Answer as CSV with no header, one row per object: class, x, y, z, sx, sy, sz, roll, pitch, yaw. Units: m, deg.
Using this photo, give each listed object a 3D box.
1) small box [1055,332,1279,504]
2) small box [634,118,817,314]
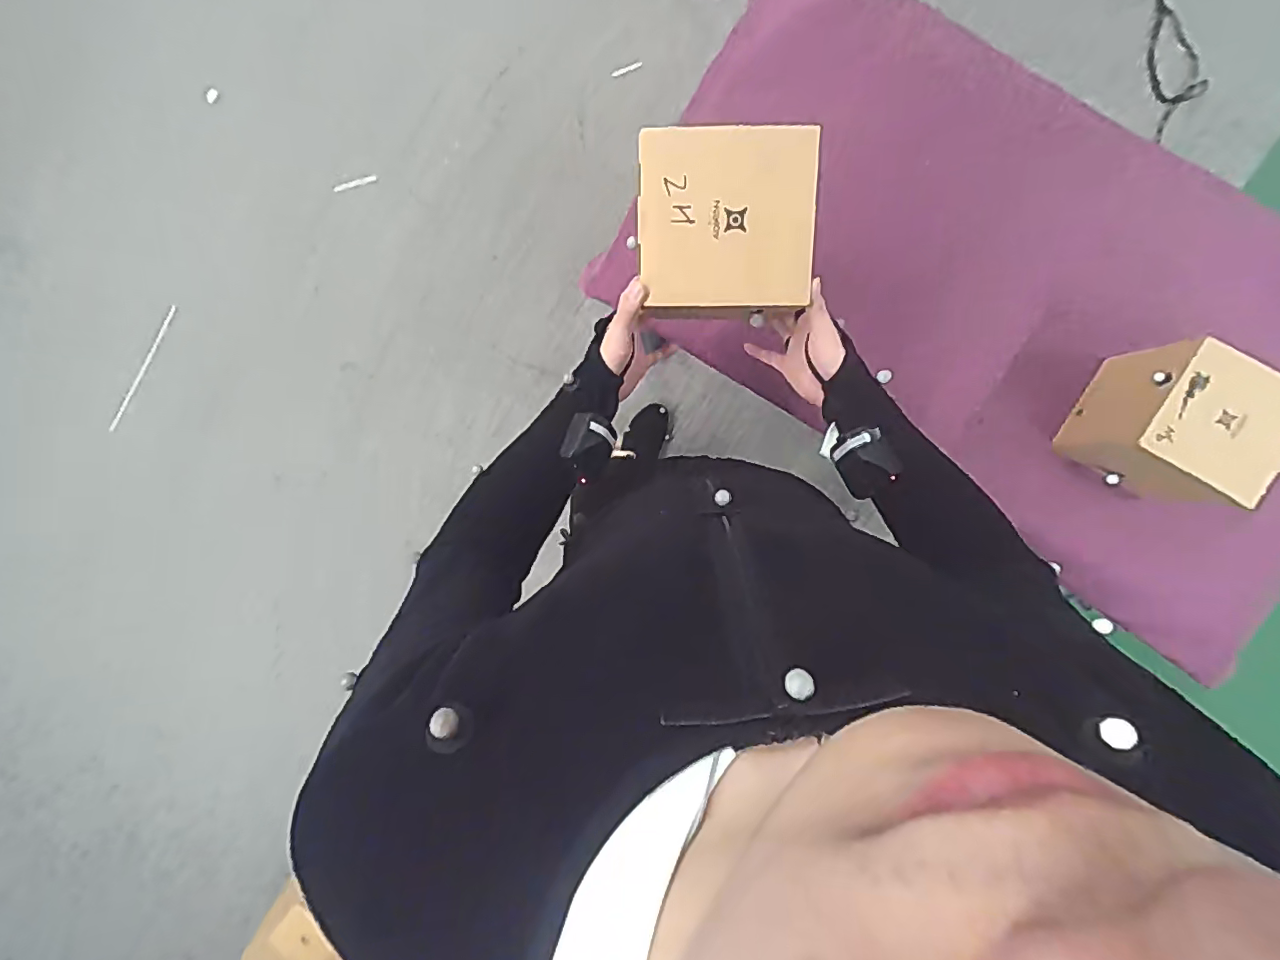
small box,0.770,-0.086,0.779,0.179,0.176,0.168,31,95,1
small box,0.083,-0.282,0.611,0.179,0.176,0.168,0,102,1
